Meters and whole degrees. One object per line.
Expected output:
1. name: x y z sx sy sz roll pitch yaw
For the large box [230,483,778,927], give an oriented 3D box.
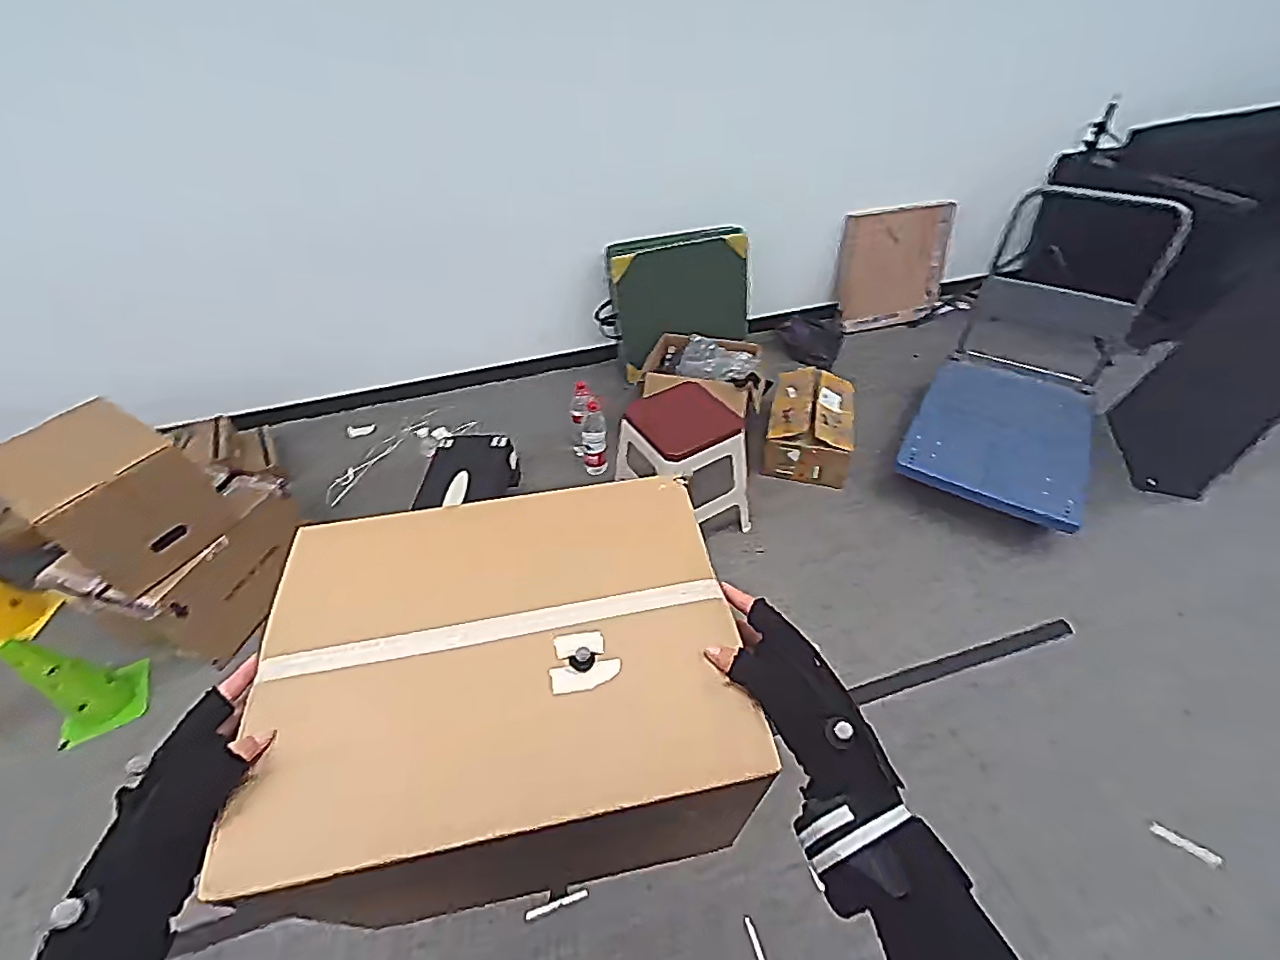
1. large box: -0.116 0.240 0.597 0.408 0.320 0.320 -7 48 -8
